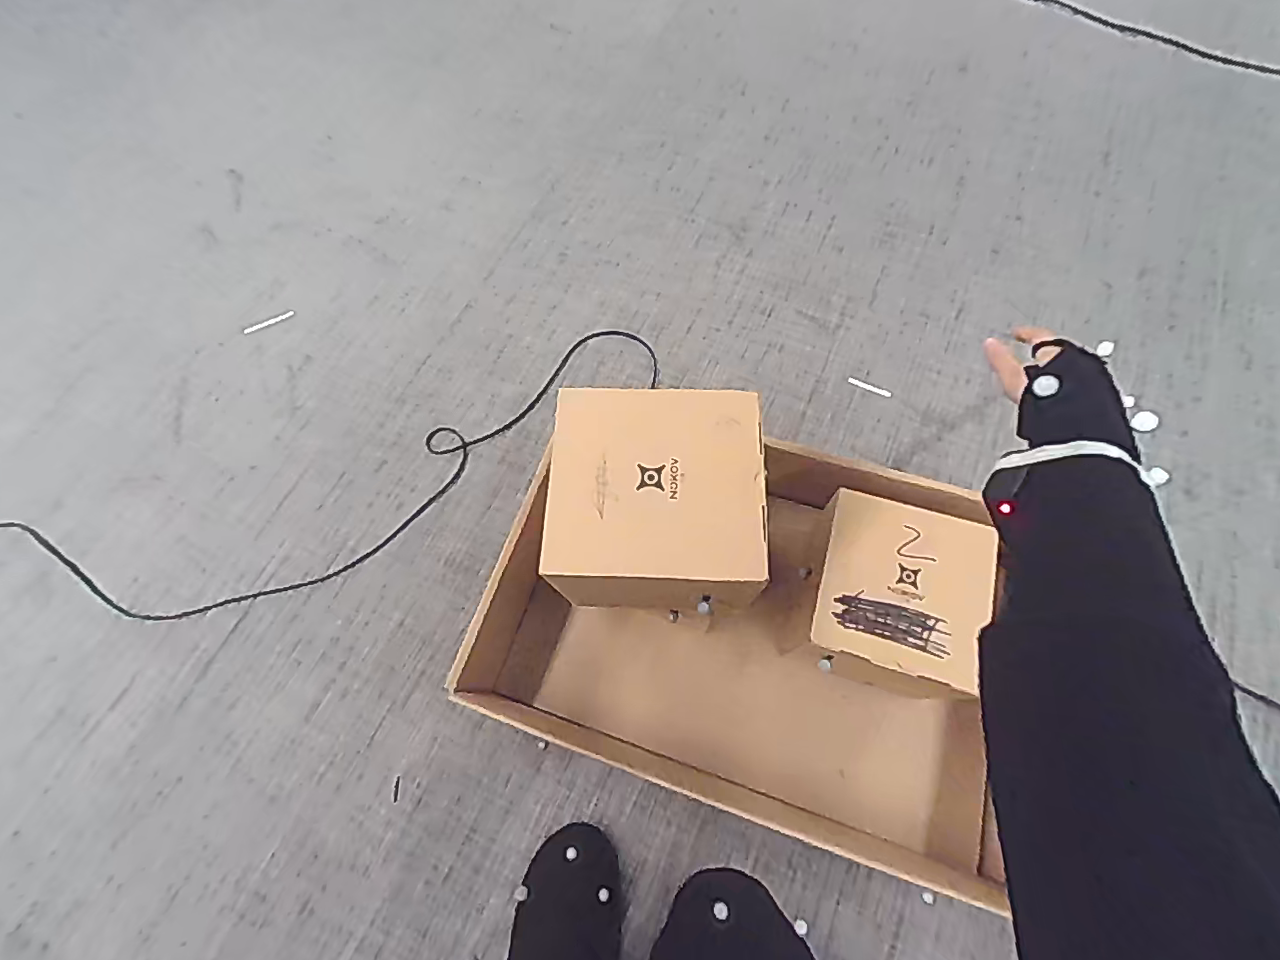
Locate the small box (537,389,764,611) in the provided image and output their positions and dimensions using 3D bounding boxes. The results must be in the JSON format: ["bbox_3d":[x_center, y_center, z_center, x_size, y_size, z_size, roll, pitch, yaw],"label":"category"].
[{"bbox_3d":[0.015,0.028,0.513,0.179,0.176,0.168,1,69,4],"label":"small box"}]
